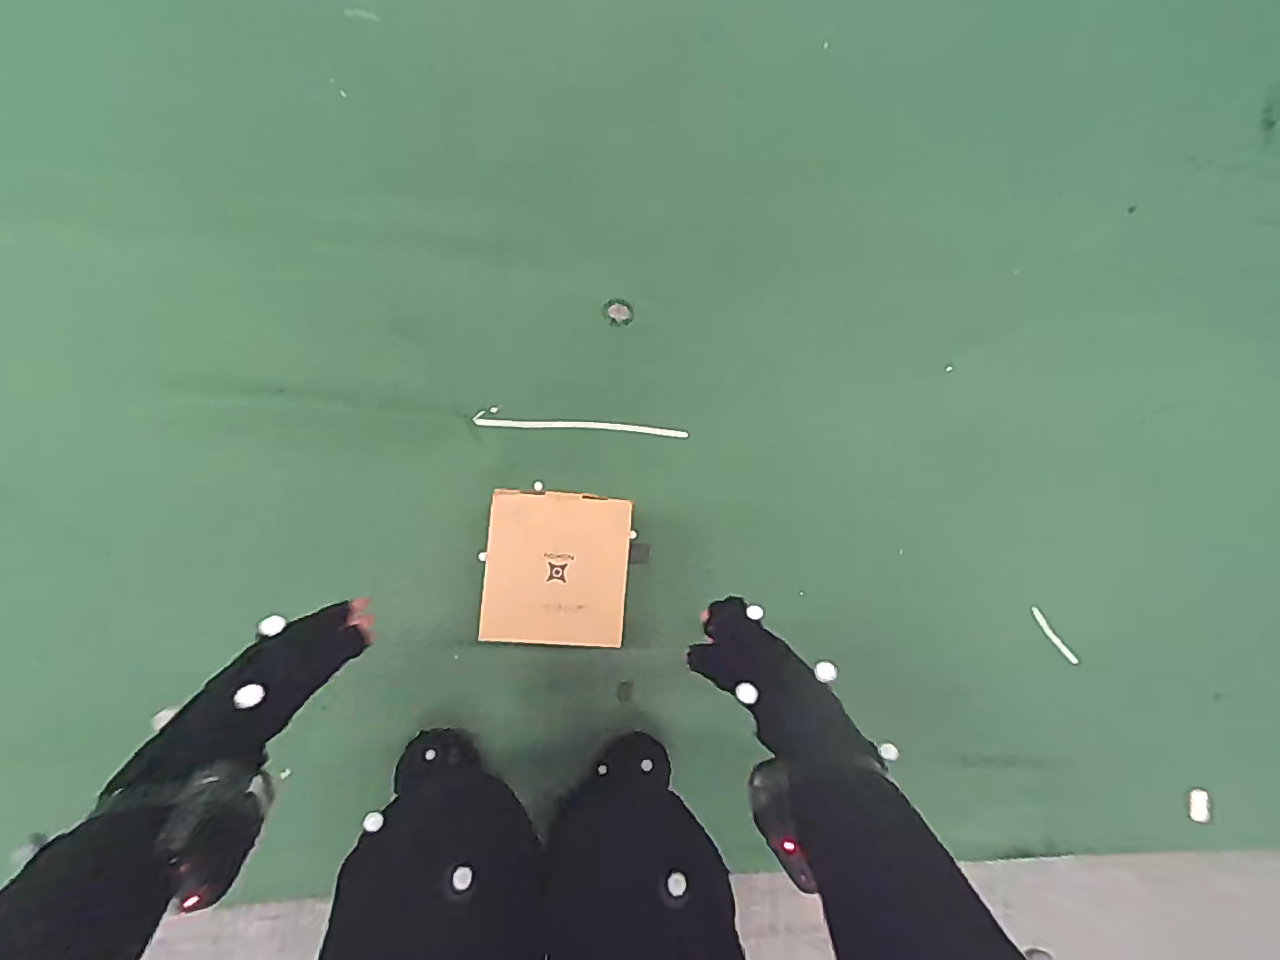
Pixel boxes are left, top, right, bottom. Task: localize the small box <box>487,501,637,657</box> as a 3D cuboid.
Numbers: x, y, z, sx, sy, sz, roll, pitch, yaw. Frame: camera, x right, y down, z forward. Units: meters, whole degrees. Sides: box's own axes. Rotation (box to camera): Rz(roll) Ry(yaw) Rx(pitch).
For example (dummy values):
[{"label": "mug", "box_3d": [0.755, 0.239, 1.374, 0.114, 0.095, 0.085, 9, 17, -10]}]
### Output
[{"label": "small box", "box_3d": [-0.098, 0.123, 0.716, 0.168, 0.176, 0.179, 4, 86, -5]}]
